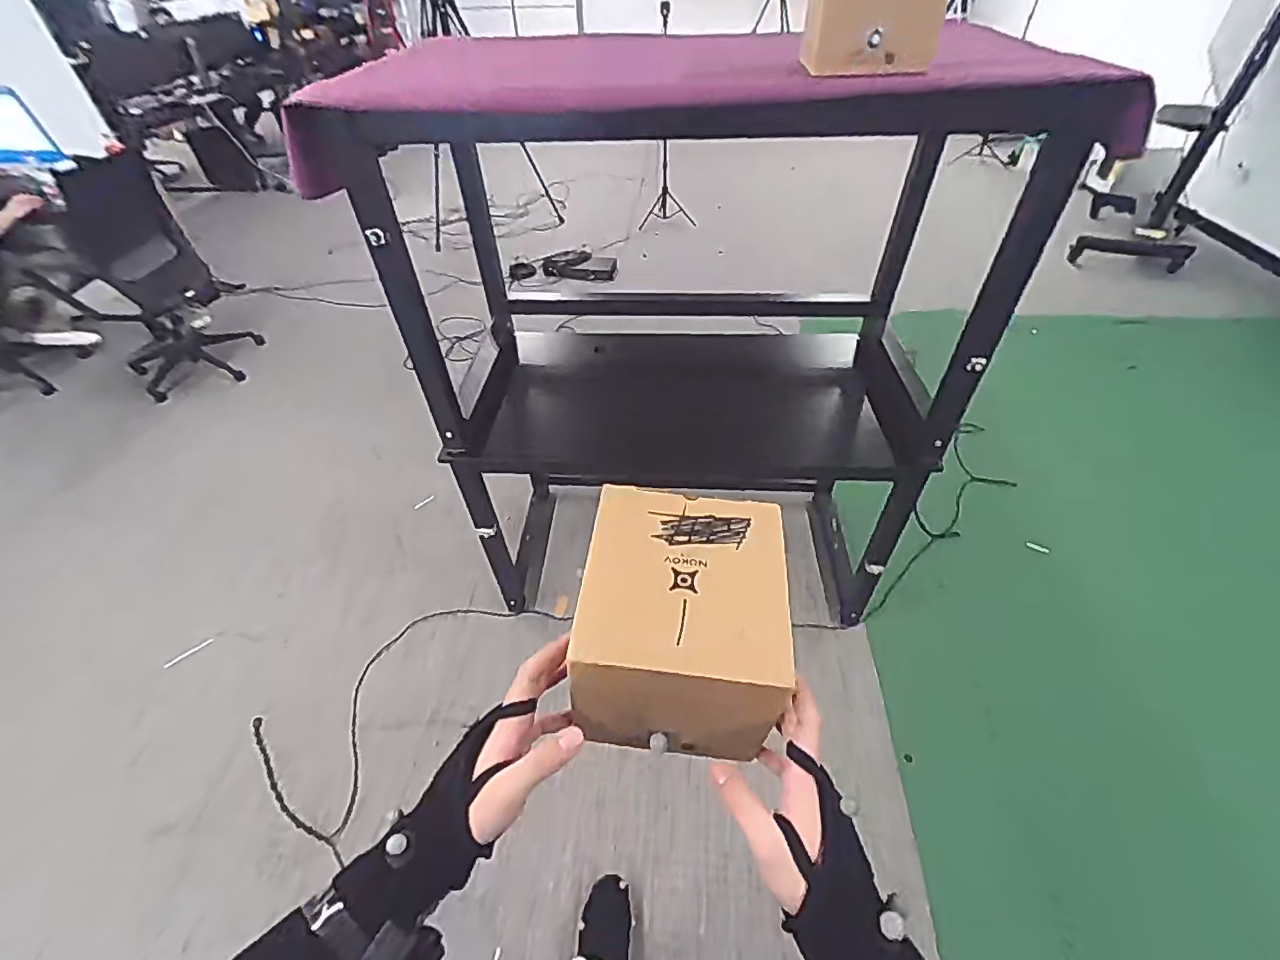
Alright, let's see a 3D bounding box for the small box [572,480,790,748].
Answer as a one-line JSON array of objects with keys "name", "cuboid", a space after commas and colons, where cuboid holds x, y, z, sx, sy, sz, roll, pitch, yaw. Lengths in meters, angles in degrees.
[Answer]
[{"name": "small box", "cuboid": [0.034, 0.126, 0.511, 0.168, 0.176, 0.179, 6, 47, 3]}]
